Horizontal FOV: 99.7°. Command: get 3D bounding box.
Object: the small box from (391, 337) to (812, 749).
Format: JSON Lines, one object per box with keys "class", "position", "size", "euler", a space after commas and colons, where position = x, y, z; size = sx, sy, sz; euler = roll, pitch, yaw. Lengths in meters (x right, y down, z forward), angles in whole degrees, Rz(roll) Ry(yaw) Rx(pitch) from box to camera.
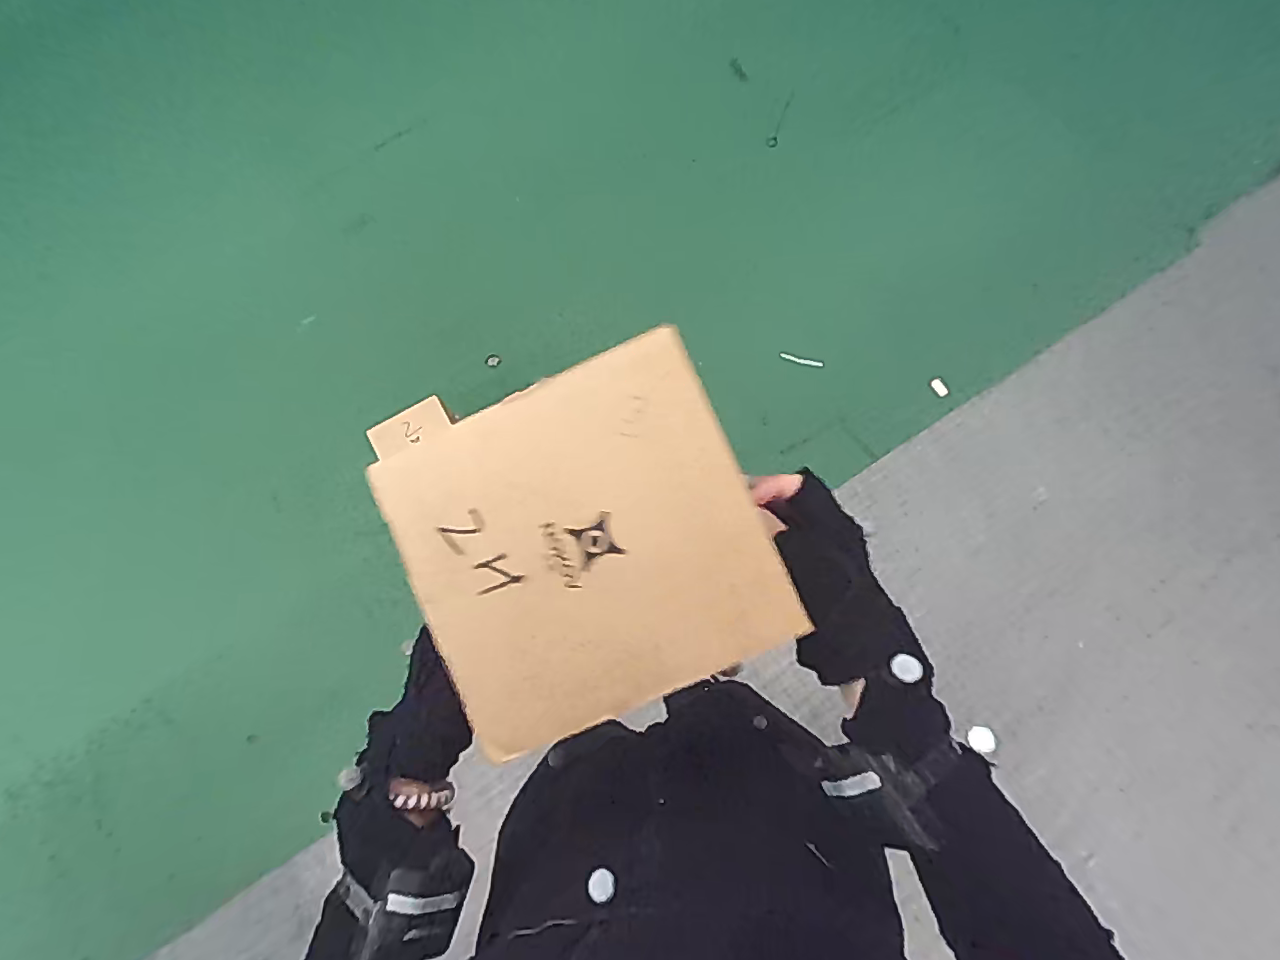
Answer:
{"class": "small box", "position": [-0.017, 0.033, 0.357], "size": [0.179, 0.176, 0.168], "euler": [-24, 87, 4]}
